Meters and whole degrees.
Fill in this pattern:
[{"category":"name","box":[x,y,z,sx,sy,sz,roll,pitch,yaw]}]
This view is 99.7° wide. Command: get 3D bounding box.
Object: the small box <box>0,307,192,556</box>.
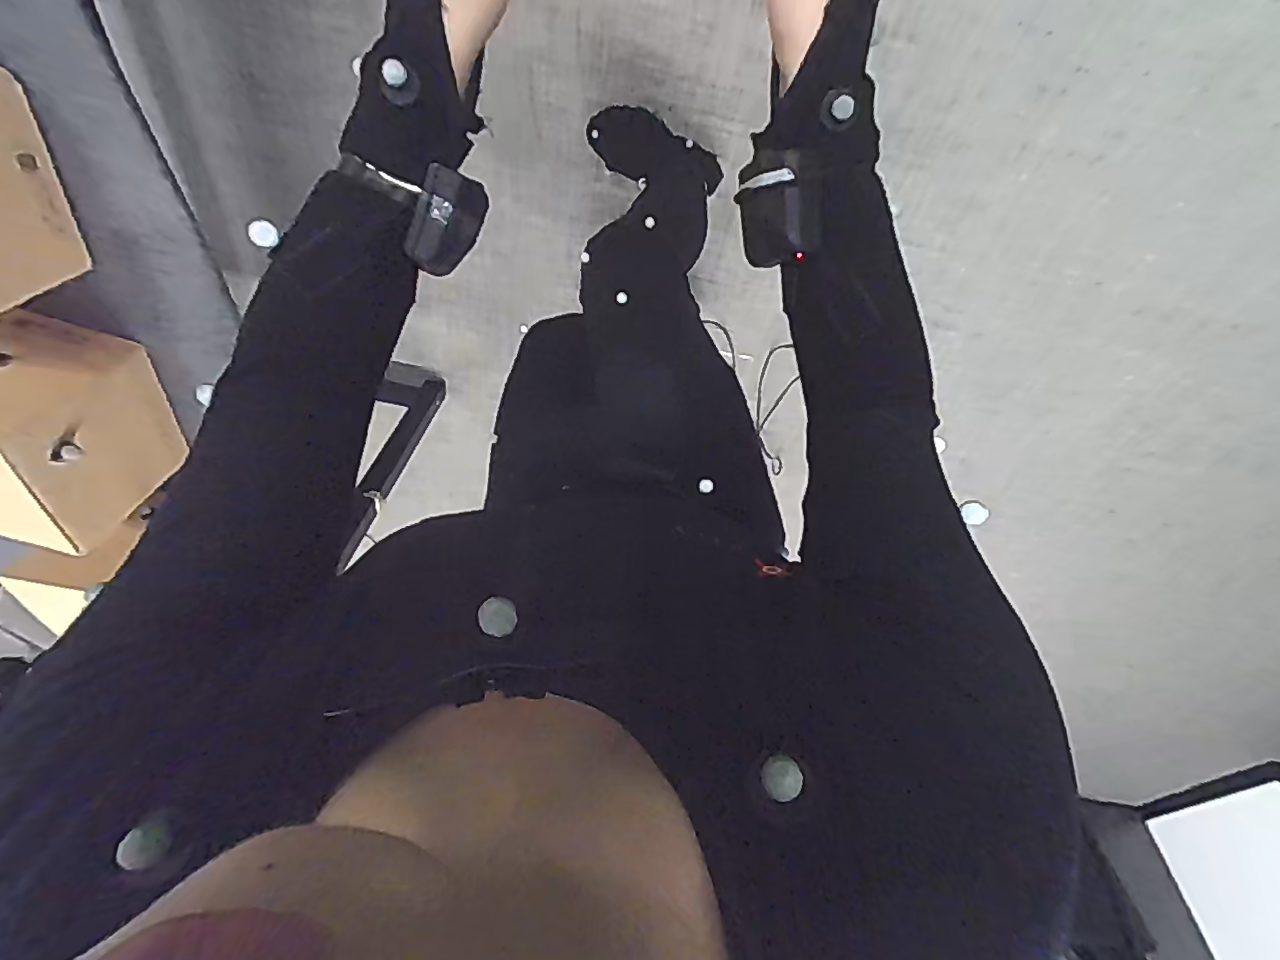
[{"category":"small box","box":[-0.634,-0.053,0.571,0.168,0.176,0.179,17,134,-6]}]
